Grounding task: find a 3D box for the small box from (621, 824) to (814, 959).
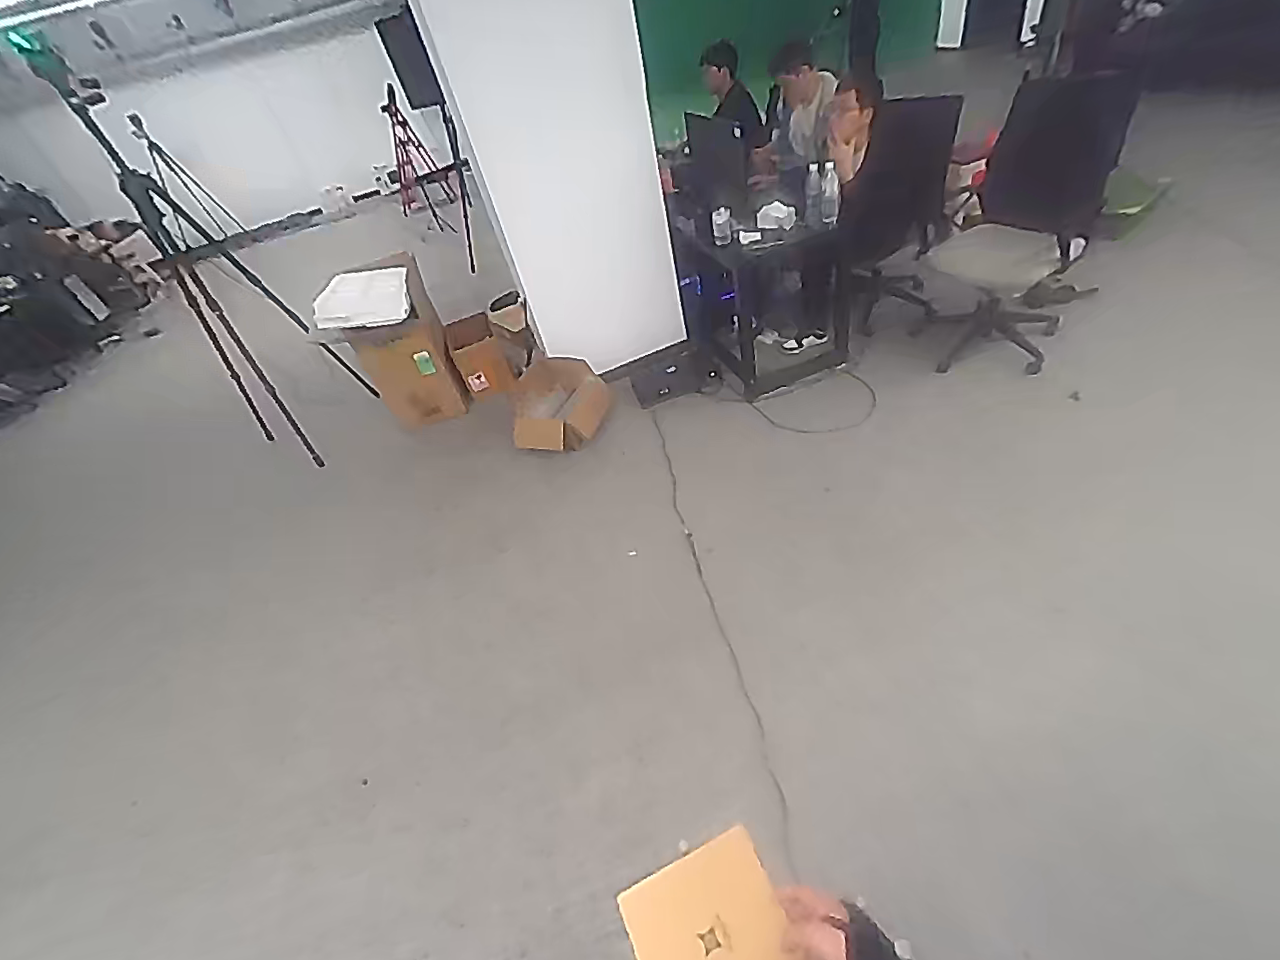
[{"bbox_3d":[0.098,0.563,0.667,0.179,0.176,0.168,-25,53,-10],"label":"small box"}]
